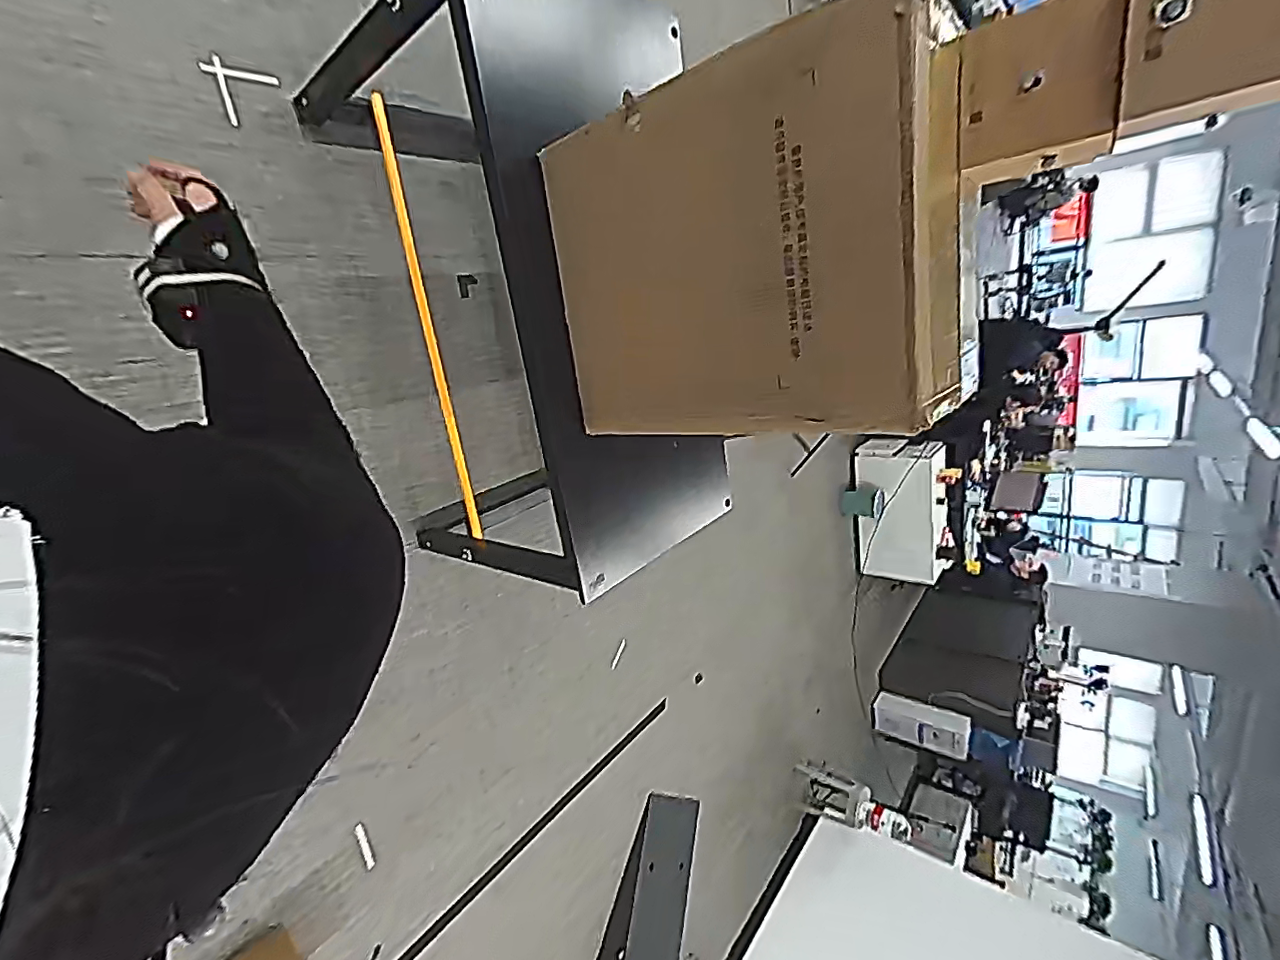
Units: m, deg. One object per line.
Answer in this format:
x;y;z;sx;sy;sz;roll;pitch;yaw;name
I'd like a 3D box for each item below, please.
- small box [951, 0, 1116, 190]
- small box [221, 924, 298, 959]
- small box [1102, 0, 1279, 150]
0.541;-0.517;0.747;0.179;0.176;0.168;-25;114;-47;small box
-0.921;1.232;1.291;0.179;0.176;0.168;-19;108;-47;small box
0.647;-0.499;0.619;0.179;0.176;0.168;-29;115;-46;small box
